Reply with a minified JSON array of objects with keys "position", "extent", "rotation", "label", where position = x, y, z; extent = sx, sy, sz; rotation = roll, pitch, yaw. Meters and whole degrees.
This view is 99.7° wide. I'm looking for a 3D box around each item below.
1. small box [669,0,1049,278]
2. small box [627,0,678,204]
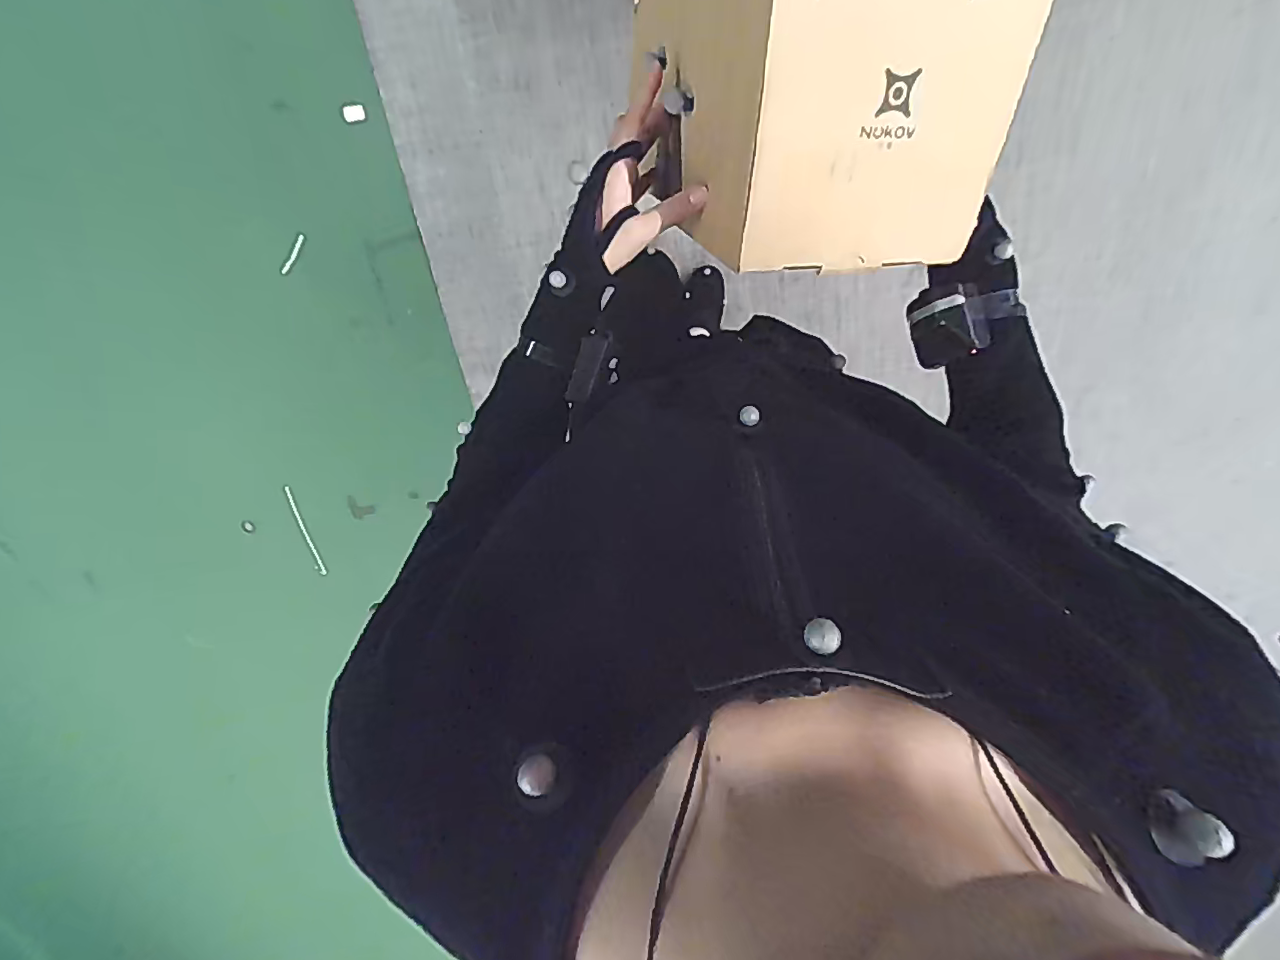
[{"position":[0.120,-0.256,0.372],"extent":[0.168,0.176,0.179],"rotation":[-7,129,-11],"label":"small box"},{"position":[0.088,-0.357,0.500],"extent":[0.168,0.176,0.179],"rotation":[-1,126,-13],"label":"small box"}]
